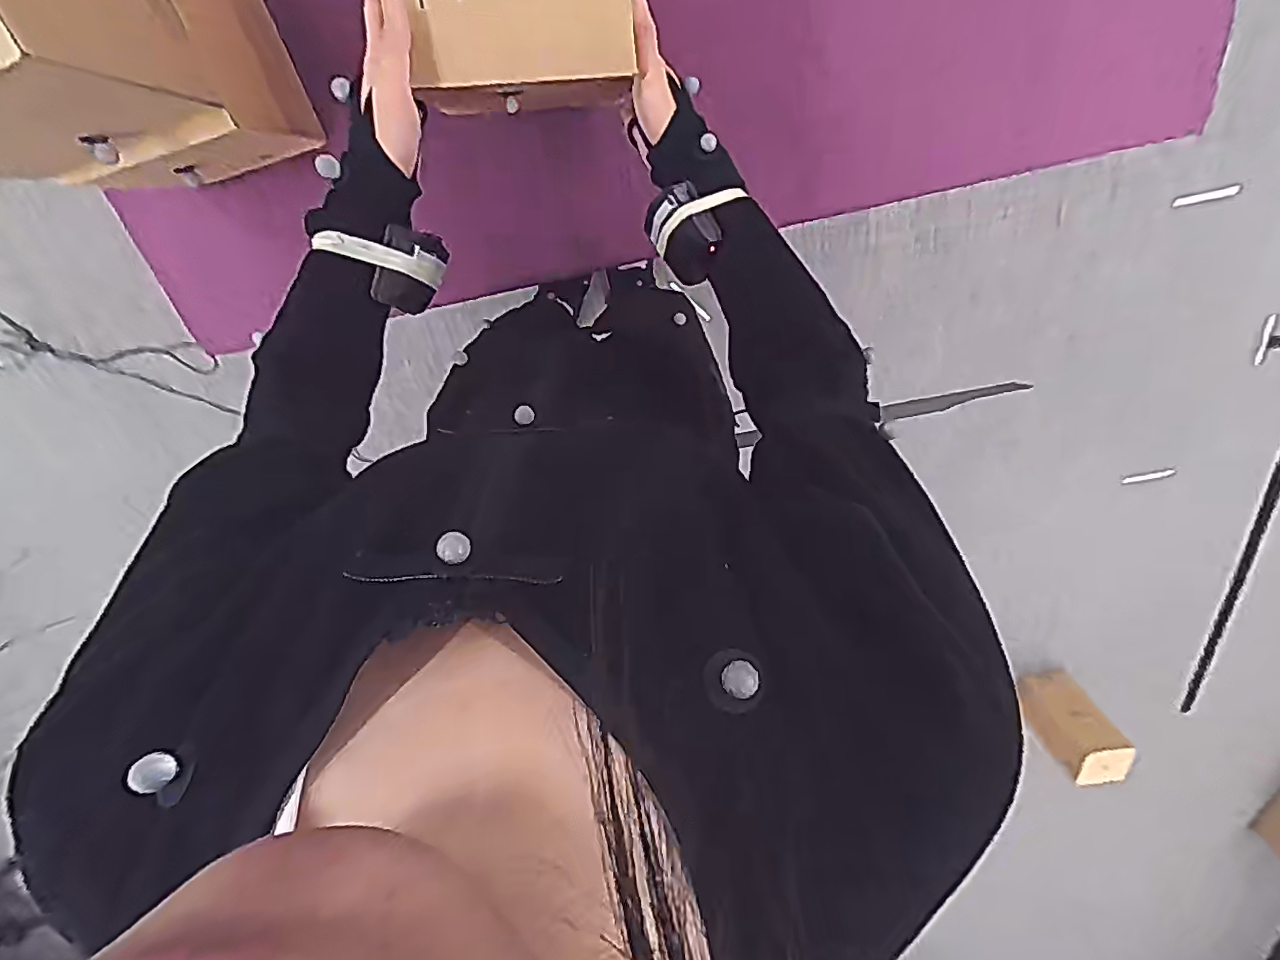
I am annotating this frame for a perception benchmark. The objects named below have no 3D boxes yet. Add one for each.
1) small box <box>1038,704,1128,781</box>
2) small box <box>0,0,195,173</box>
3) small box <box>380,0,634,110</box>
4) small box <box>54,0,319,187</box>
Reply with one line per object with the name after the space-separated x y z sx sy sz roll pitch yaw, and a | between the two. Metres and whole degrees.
1.558 0.926 1.915 0.168 0.176 0.179 -8 117 1 | small box
-0.433 -0.307 0.333 0.179 0.176 0.168 -17 117 5 | small box
-0.101 -0.401 0.426 0.179 0.176 0.168 -6 120 -4 | small box
-0.433 -0.378 0.480 0.168 0.176 0.179 -15 117 5 | small box
